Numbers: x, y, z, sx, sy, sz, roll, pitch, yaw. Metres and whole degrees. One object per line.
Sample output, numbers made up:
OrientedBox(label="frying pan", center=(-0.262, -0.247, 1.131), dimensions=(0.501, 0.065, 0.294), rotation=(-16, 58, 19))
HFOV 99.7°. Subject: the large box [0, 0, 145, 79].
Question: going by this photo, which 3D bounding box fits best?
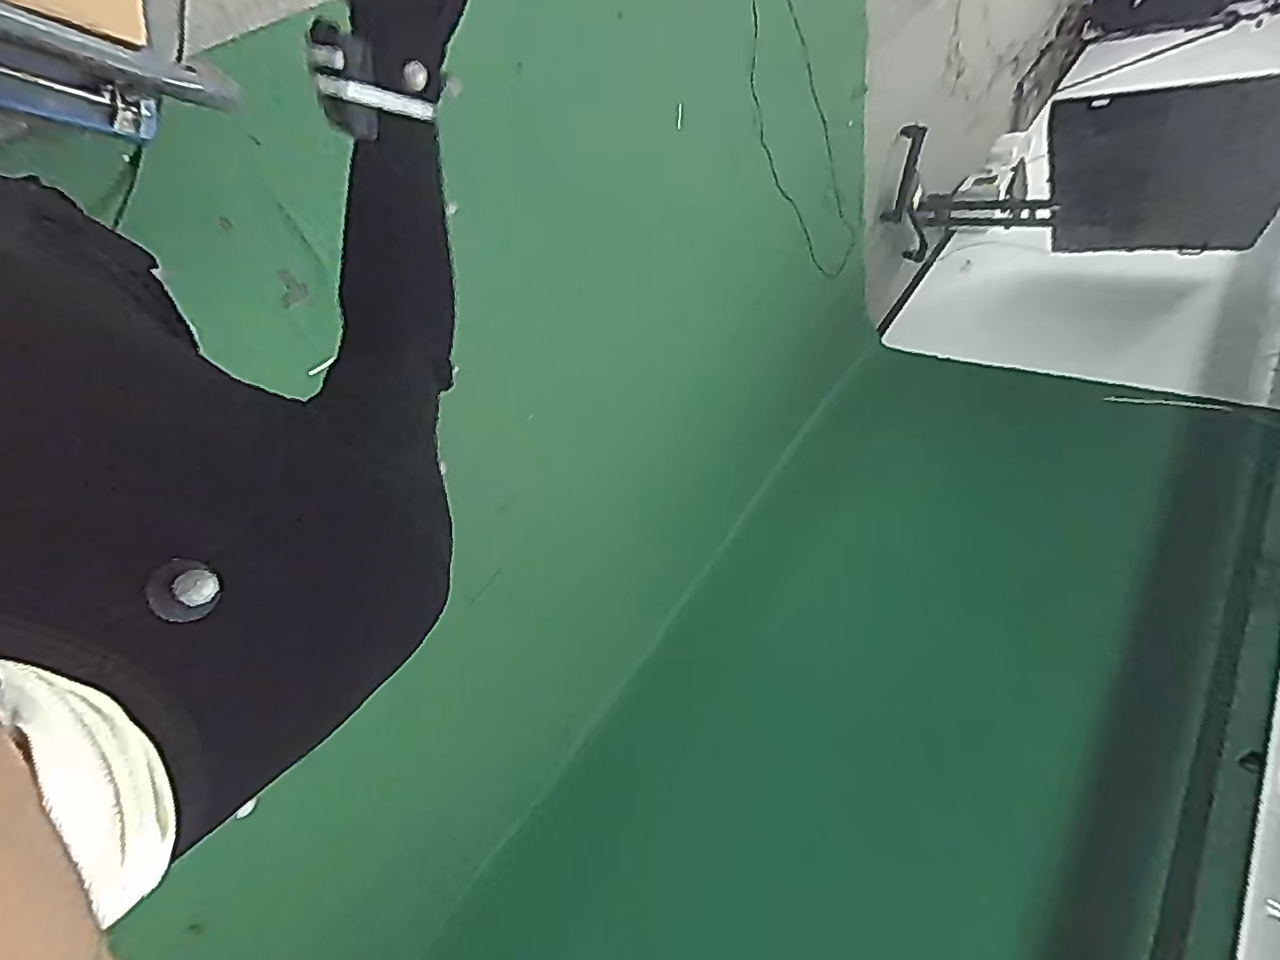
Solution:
OrientedBox(label="large box", center=(-0.918, -0.833, 0.710), dimensions=(0.320, 0.320, 0.408), rotation=(-14, 117, -48))
